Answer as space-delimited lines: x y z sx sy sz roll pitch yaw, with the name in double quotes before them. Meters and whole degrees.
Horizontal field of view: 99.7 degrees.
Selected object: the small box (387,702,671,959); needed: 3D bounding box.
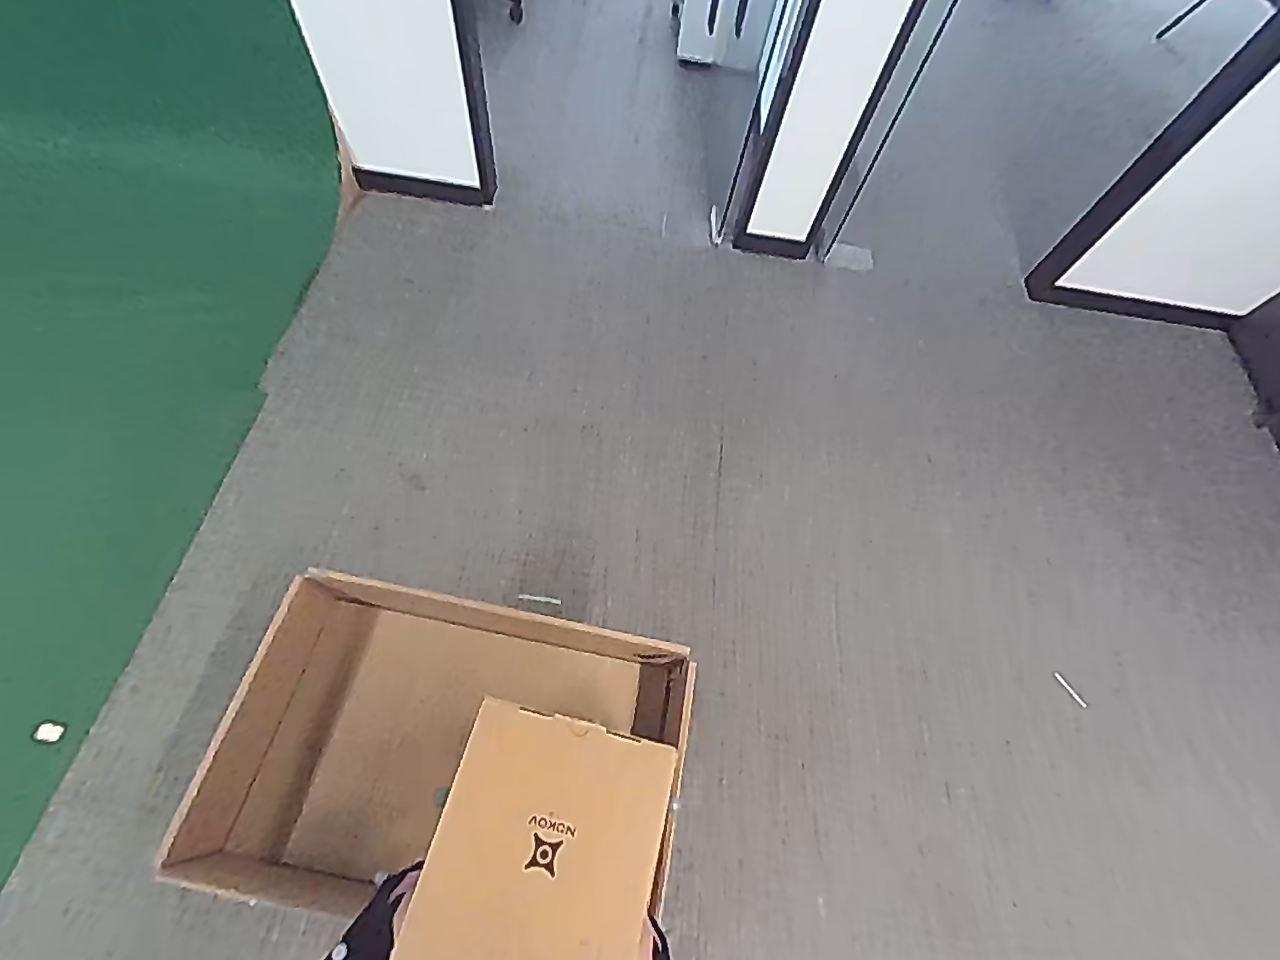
"small box" -0.079 0.312 0.468 0.168 0.176 0.179 15 61 2
